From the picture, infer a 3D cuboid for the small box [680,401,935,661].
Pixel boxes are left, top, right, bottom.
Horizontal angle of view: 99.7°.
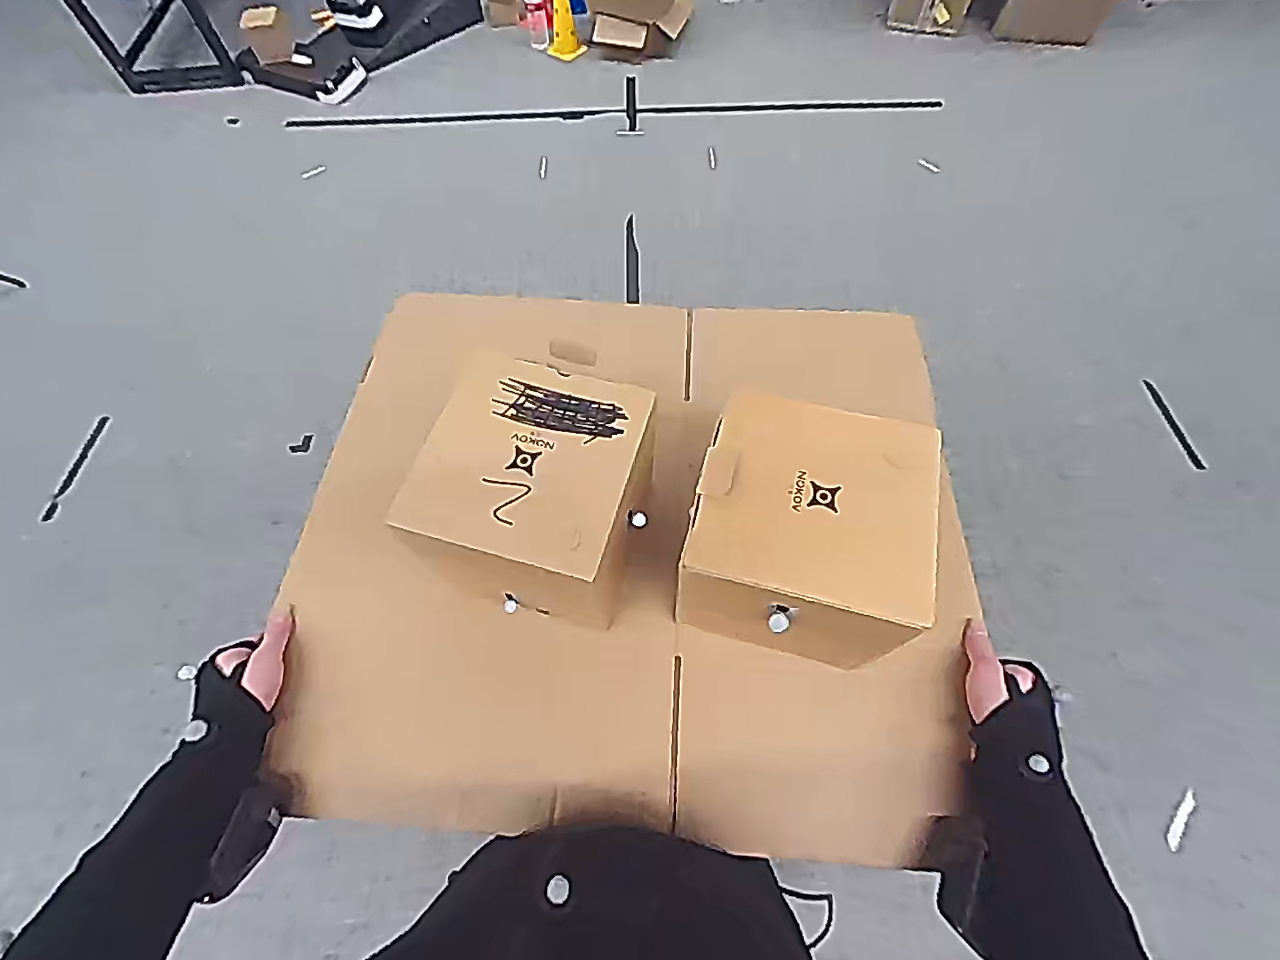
[{"bbox_3d":[0.140,0.056,0.494,0.179,0.176,0.168,13,64,11],"label":"small box"}]
